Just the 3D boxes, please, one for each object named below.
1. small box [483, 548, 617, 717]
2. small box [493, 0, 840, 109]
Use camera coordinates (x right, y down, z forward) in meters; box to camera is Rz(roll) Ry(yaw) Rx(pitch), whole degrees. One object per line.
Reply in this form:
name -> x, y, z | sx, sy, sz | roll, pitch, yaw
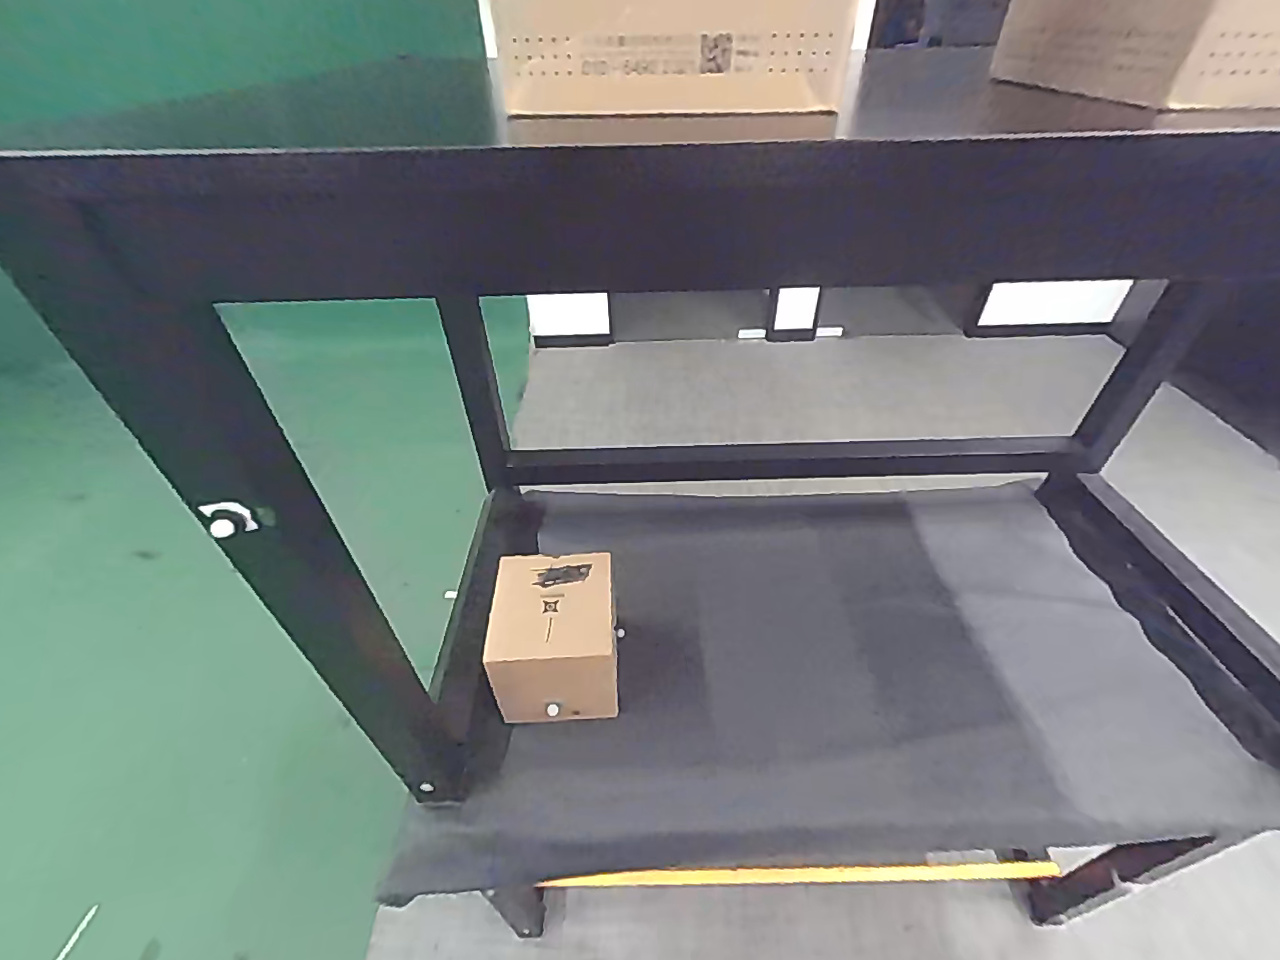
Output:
small box -> -0.120, 0.222, 0.794 | 0.168, 0.176, 0.179 | -3, 41, -2
small box -> 0.015, -0.301, 0.281 | 0.168, 0.176, 0.179 | 1, 40, 3
